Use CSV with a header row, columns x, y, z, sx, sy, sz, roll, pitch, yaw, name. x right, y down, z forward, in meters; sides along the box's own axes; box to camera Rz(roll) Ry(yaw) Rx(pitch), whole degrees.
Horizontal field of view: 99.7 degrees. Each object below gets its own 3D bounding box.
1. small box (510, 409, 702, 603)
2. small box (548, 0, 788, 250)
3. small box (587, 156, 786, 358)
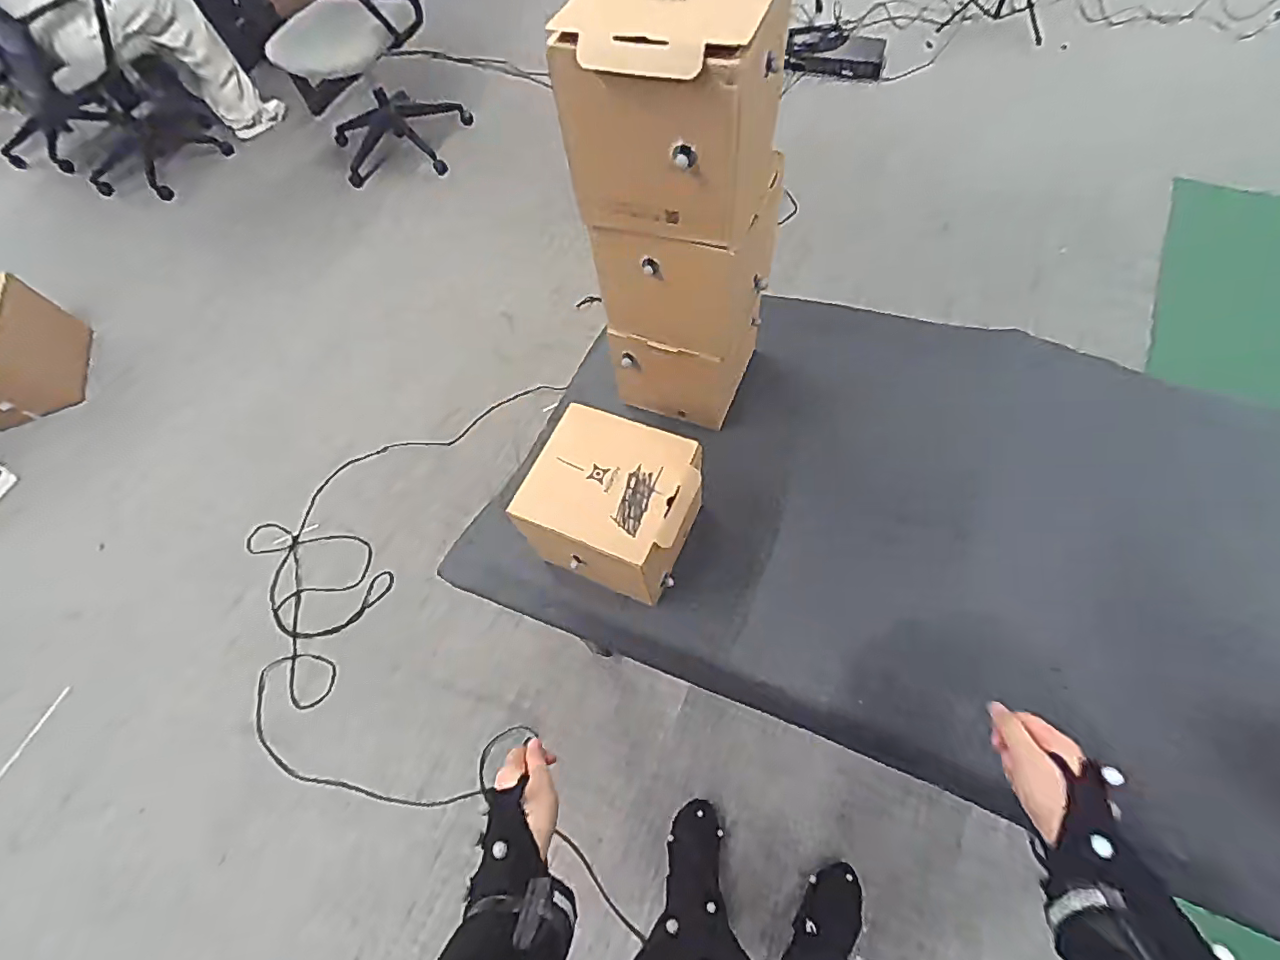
x,y,z,sx,sy,sz,roll,pitch,yaw,name
-0.029,0.042,0.692,0.179,0.176,0.168,20,66,17,small box
0.037,-0.353,0.521,0.168,0.176,0.179,16,64,13,small box
0.061,-0.276,0.662,0.179,0.176,0.168,19,67,16,small box
